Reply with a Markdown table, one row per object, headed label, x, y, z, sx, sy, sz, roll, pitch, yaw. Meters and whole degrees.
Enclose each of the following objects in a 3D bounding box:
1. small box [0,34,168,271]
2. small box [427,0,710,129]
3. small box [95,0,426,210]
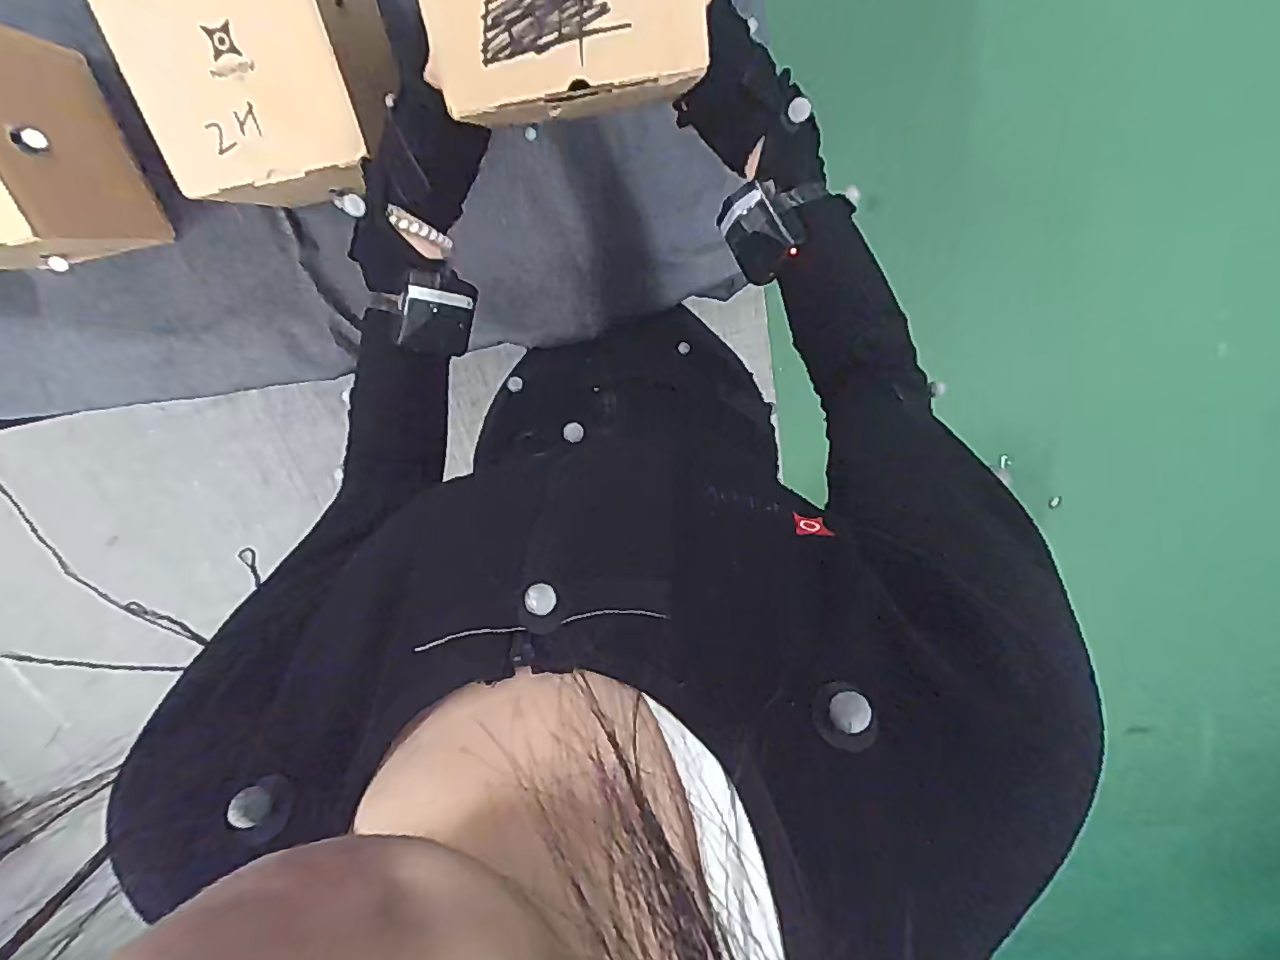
| label | x | y | z | sx | sy | sz | roll | pitch | yaw |
| --- | --- | --- | --- | --- | --- | --- | --- | --- | --- |
| small box | -0.613 | -0.297 | 0.501 | 0.168 | 0.176 | 0.179 | -12 | 115 | 1 |
| small box | -0.051 | -0.351 | 0.367 | 0.168 | 0.176 | 0.179 | -9 | 120 | 1 |
| small box | -0.321 | -0.358 | 0.493 | 0.168 | 0.176 | 0.179 | -11 | 115 | 1 |
